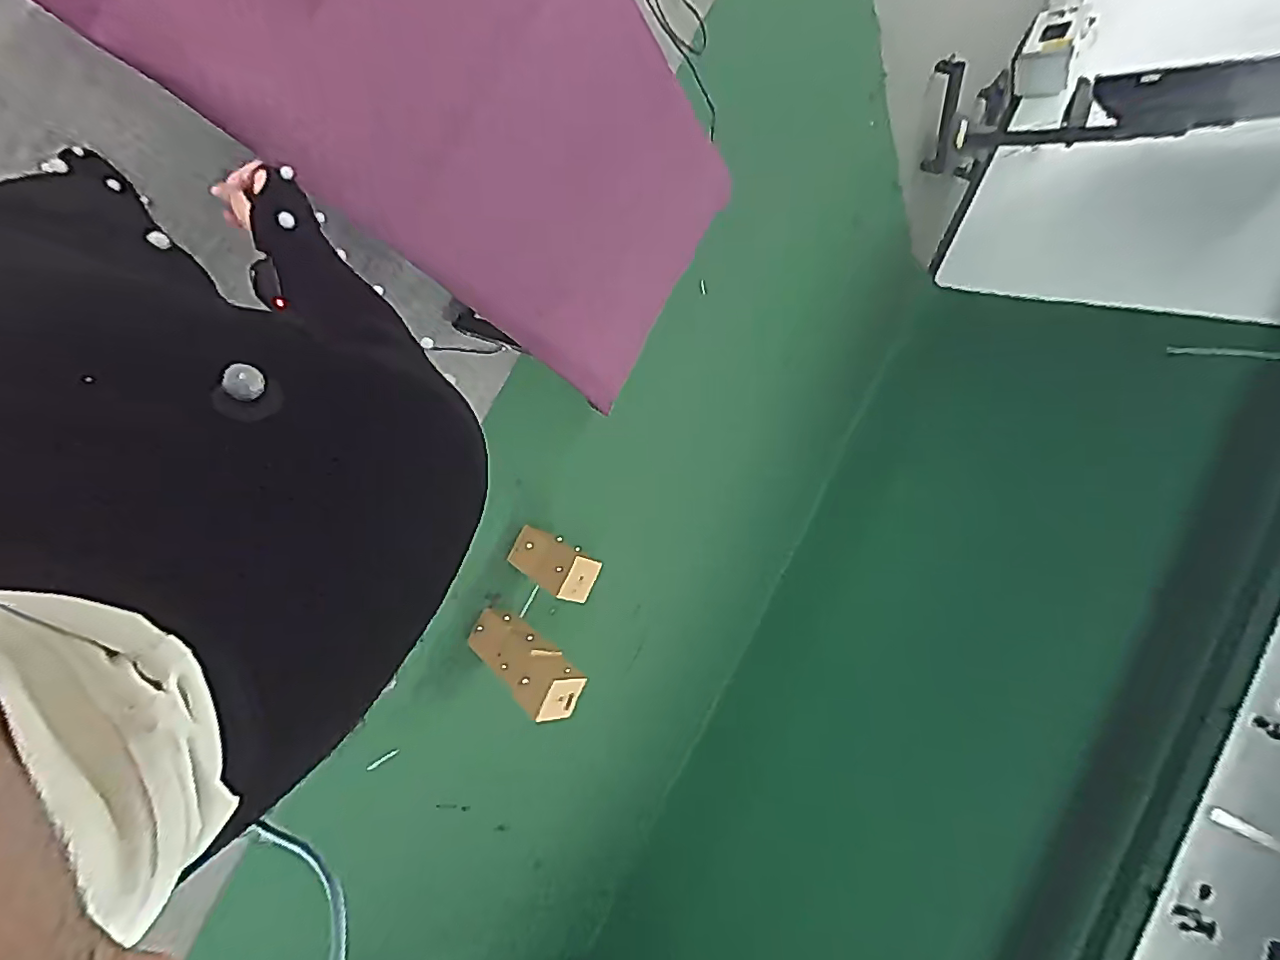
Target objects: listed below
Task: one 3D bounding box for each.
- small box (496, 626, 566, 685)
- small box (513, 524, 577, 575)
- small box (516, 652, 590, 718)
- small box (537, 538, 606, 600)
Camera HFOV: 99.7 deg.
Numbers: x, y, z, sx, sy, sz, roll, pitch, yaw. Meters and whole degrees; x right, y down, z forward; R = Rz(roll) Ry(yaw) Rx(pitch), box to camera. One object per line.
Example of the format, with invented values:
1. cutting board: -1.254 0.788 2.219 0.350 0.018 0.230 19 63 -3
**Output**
1. small box: -0.431 0.689 2.117 0.179 0.176 0.168 30 87 -51
2. small box: -0.389 0.296 2.221 0.179 0.176 0.168 30 86 -53
3. small box: -0.324 0.757 2.013 0.179 0.176 0.168 22 93 -49
4. small box: -0.273 0.346 2.116 0.168 0.176 0.179 30 86 -52
